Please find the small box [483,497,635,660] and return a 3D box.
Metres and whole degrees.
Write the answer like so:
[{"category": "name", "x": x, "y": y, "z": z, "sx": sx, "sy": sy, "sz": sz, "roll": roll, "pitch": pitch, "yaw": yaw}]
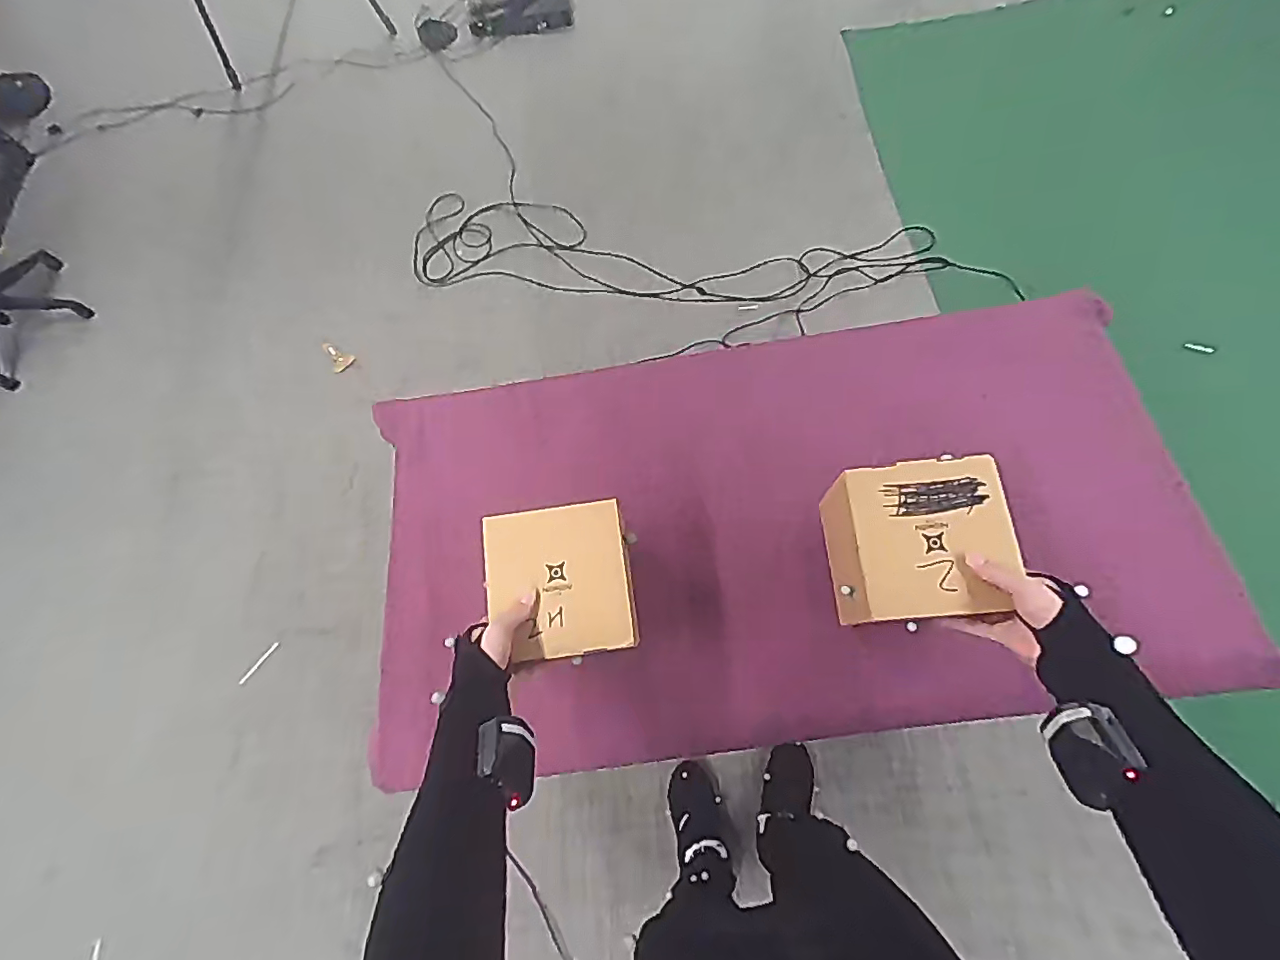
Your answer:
[{"category": "small box", "x": -0.099, "y": 0.134, "z": 0.715, "sx": 0.168, "sy": 0.176, "sz": 0.179, "roll": -8, "pitch": 75, "yaw": 0}]
